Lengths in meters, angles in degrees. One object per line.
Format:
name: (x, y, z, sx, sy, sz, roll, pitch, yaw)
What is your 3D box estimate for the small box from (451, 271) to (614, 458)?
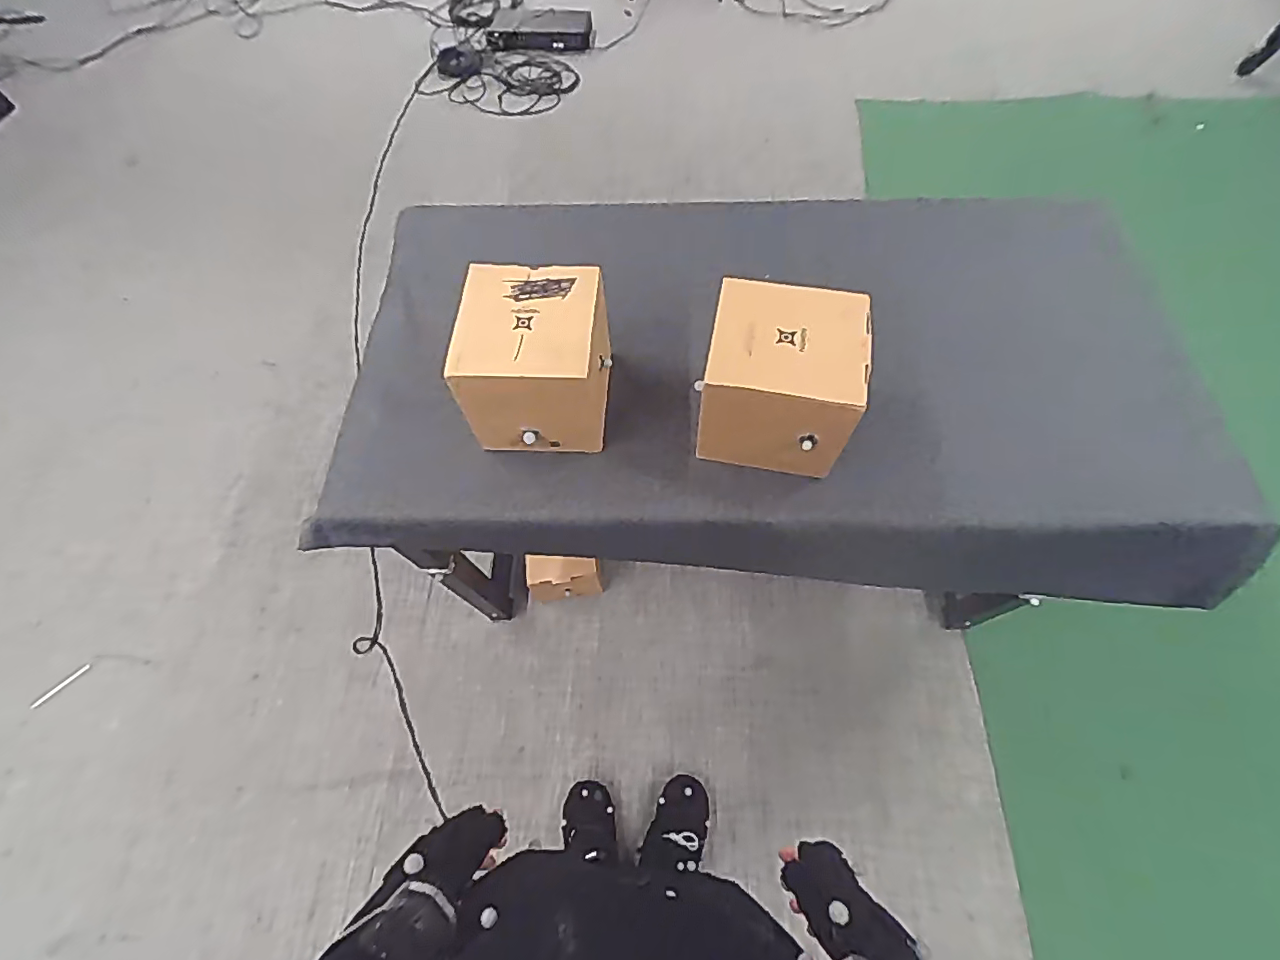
small box: (-0.126, -0.148, 0.714, 0.168, 0.176, 0.179, 2, 64, 3)

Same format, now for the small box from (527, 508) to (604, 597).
small box: (-0.184, 0.191, 1.366, 0.168, 0.176, 0.179, -7, 64, -2)

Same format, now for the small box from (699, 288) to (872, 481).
small box: (0.177, -0.113, 0.689, 0.179, 0.176, 0.168, 9, 63, 8)
